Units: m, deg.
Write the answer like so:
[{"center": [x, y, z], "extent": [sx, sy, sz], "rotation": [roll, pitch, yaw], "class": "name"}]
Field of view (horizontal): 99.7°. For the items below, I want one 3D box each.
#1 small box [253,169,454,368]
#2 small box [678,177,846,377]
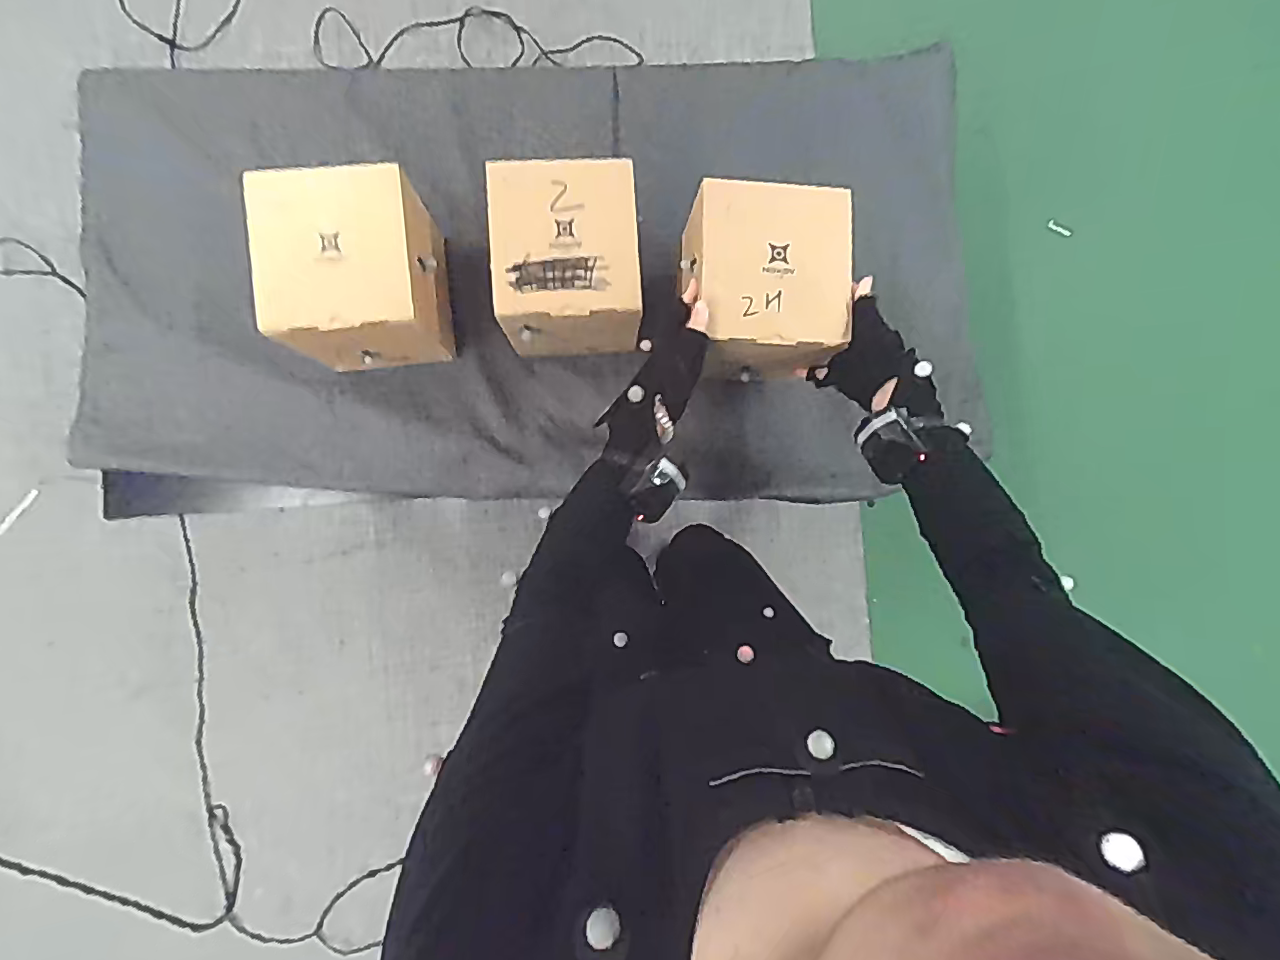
[{"center": [-0.340, -0.251, 0.673], "extent": [0.168, 0.176, 0.179], "rotation": [-6, 89, -4], "class": "small box"}, {"center": [0.139, -0.237, 0.669], "extent": [0.168, 0.176, 0.179], "rotation": [1, 87, -4], "class": "small box"}]
